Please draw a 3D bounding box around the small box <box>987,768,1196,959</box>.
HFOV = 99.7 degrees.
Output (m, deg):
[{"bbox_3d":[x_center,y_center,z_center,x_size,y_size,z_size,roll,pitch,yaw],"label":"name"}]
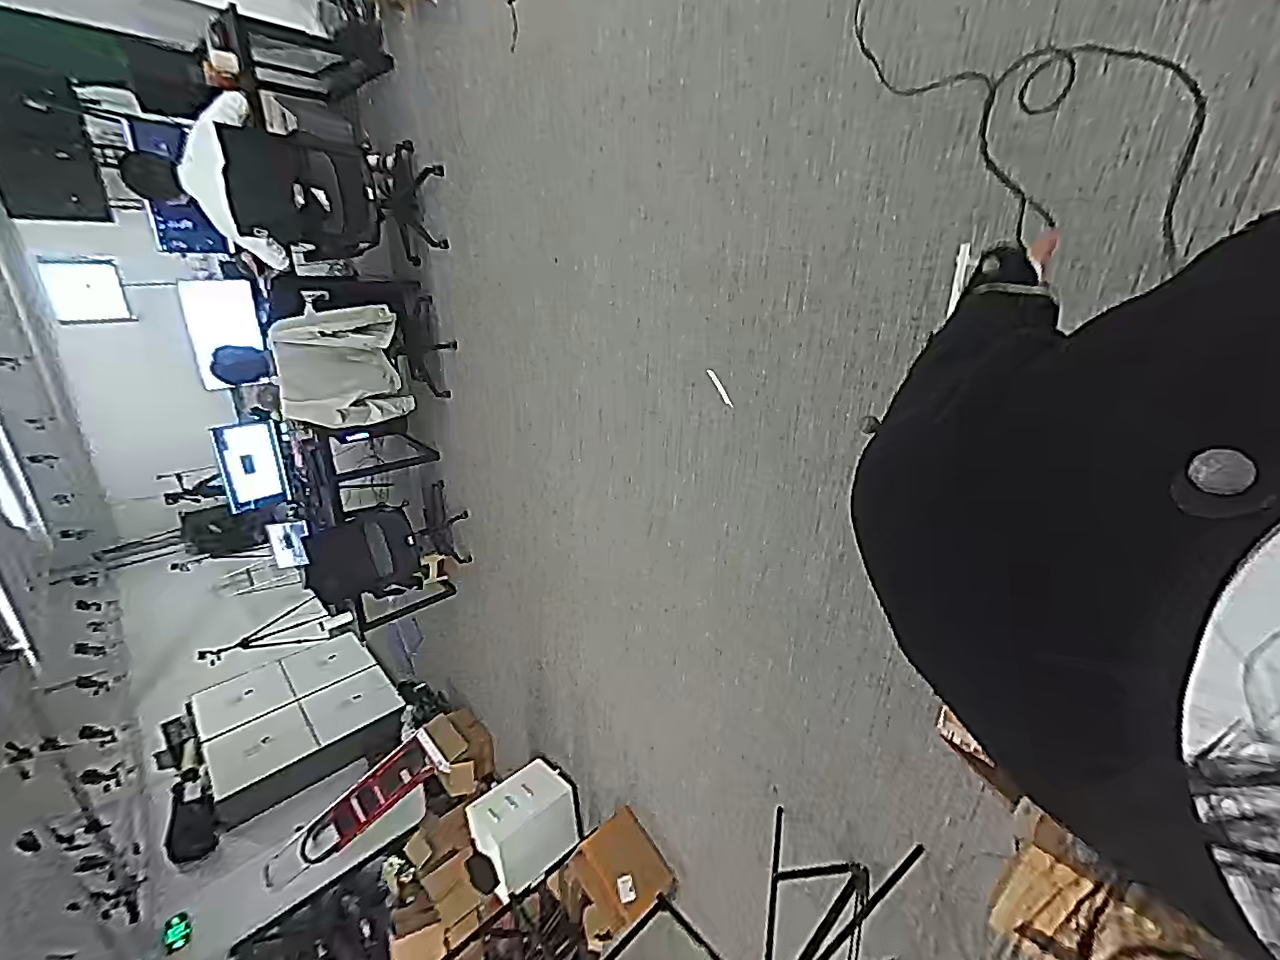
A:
[{"bbox_3d":[0.617,0.549,0.741,0.168,0.176,0.179,26,120,38],"label":"small box"}]
